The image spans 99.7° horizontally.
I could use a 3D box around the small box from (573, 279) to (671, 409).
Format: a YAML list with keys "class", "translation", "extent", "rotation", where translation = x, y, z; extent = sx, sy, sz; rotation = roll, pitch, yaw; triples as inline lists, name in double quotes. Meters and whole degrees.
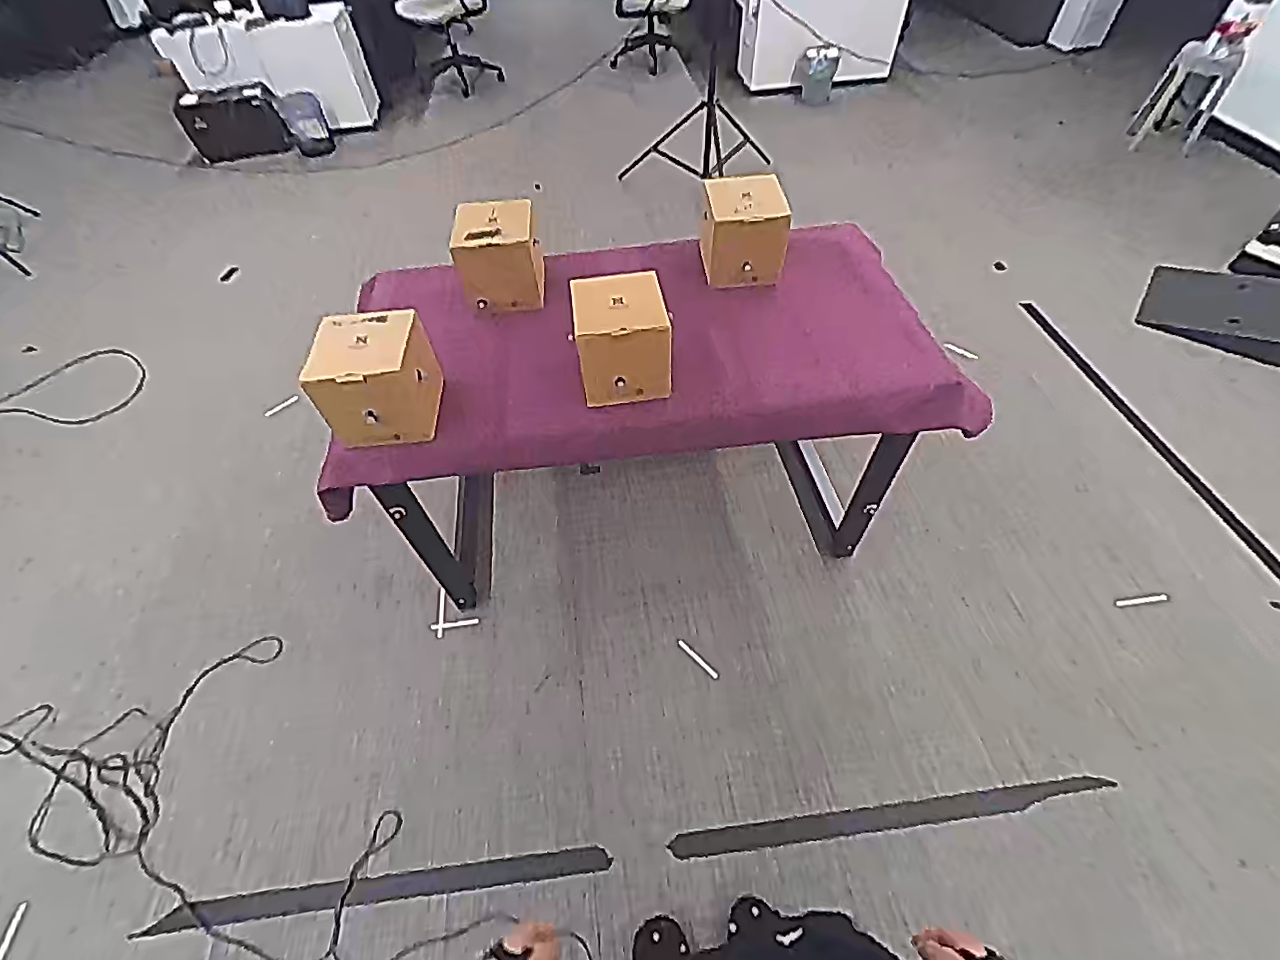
- class: "small box"
  translation: [-0.036, -0.261, 1.043]
  extent: [0.168, 0.176, 0.179]
  rotation: [-8, 52, -3]

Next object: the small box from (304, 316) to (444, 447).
- class: "small box"
  translation: [-0.473, -0.174, 0.994]
  extent: [0.168, 0.176, 0.179]
  rotation: [-6, 53, -2]

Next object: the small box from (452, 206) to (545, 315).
- class: "small box"
  translation: [-0.311, -0.491, 1.226]
  extent: [0.168, 0.176, 0.179]
  rotation: [-5, 54, -1]

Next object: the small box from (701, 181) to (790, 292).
- class: "small box"
  translation: [0.234, -0.560, 1.250]
  extent: [0.168, 0.176, 0.179]
  rotation: [-5, 55, 0]
